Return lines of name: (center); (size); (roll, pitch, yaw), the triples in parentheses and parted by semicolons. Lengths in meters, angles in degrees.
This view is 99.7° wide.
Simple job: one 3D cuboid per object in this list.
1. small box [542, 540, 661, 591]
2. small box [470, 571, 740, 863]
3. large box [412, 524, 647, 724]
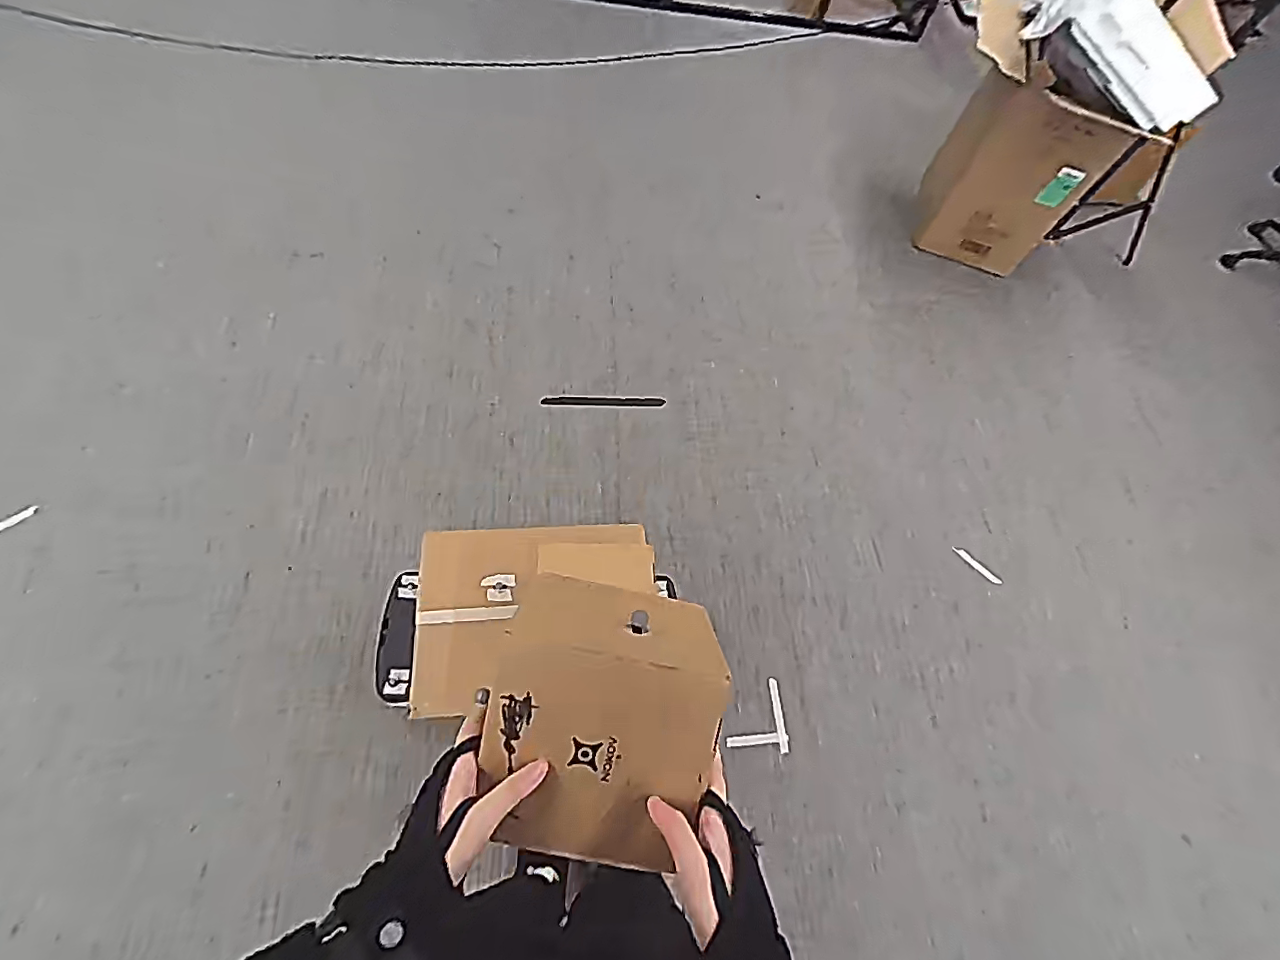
small box: (-0.065, 0.200, 0.848); (0.179, 0.176, 0.168); (2, 65, -6)
small box: (-0.029, 0.191, 0.484); (0.179, 0.176, 0.168); (12, 94, -3)
large box: (-0.186, 0.292, 1.061); (0.408, 0.320, 0.320); (-2, 64, -8)
